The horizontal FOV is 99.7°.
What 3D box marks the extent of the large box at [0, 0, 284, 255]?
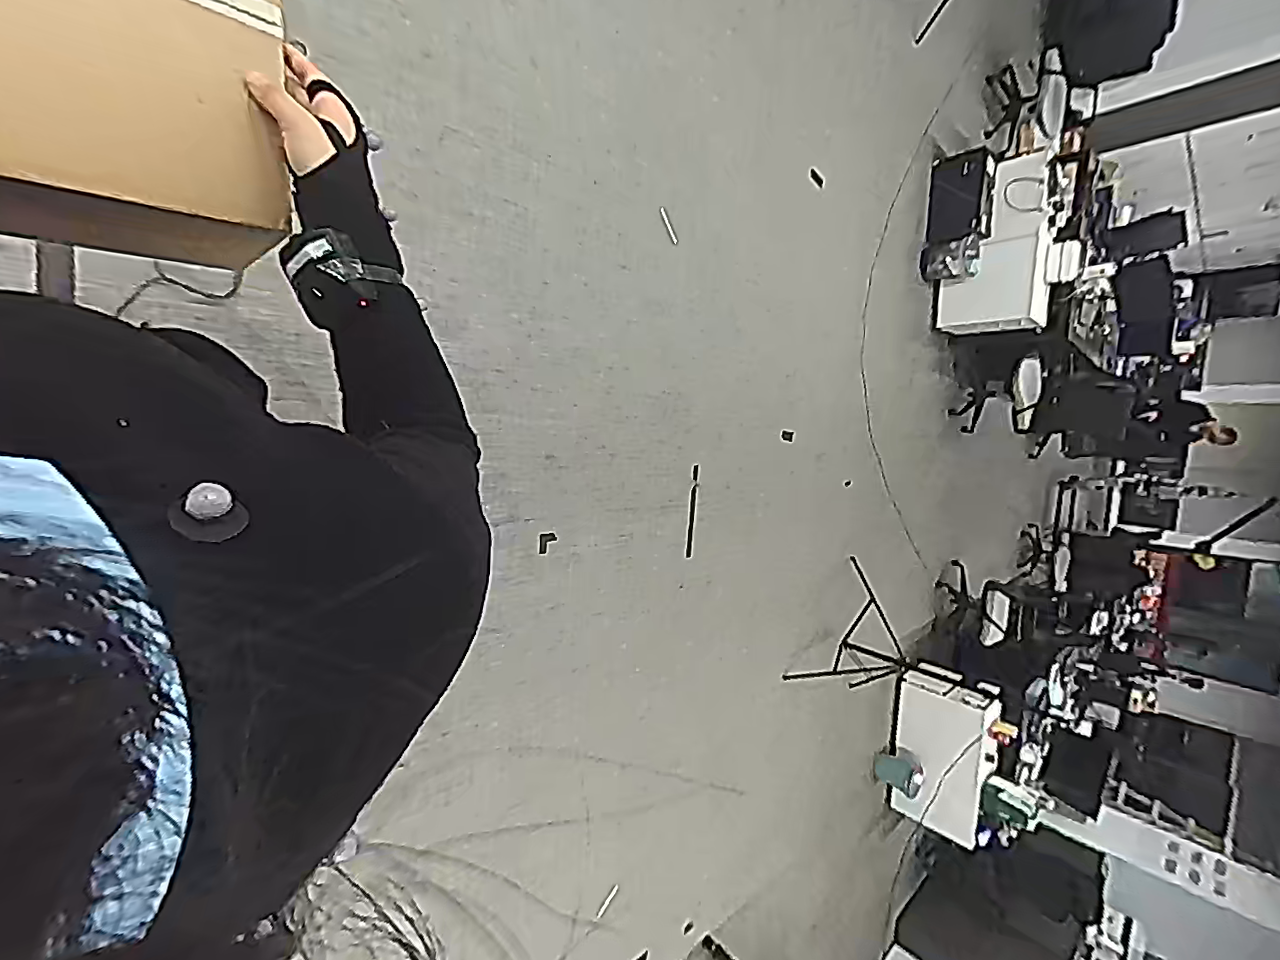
[{"bbox_3d":[-0.547,-0.382,0.418,0.408,0.320,0.320,-6,104,-42],"label":"large box"}]
